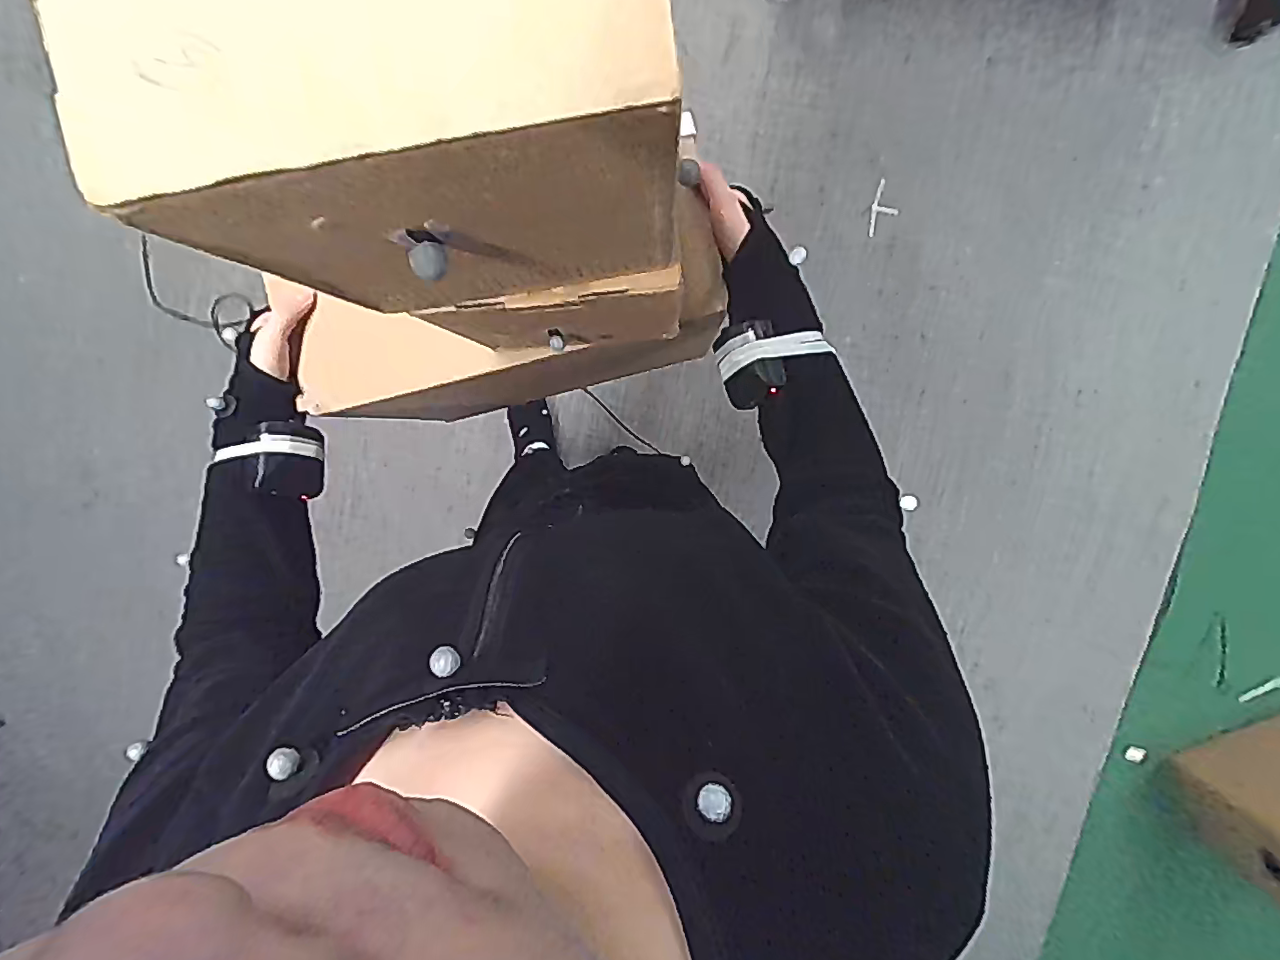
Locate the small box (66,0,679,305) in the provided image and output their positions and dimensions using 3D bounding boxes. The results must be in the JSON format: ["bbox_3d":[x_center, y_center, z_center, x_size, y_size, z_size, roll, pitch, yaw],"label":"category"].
[{"bbox_3d":[-0.078,-0.179,0.226,0.179,0.176,0.168,-7,98,5],"label":"small box"}]

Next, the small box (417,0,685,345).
[{"bbox_3d":[-0.056,-0.200,0.388,0.168,0.176,0.179,-3,98,3],"label":"small box"}]
